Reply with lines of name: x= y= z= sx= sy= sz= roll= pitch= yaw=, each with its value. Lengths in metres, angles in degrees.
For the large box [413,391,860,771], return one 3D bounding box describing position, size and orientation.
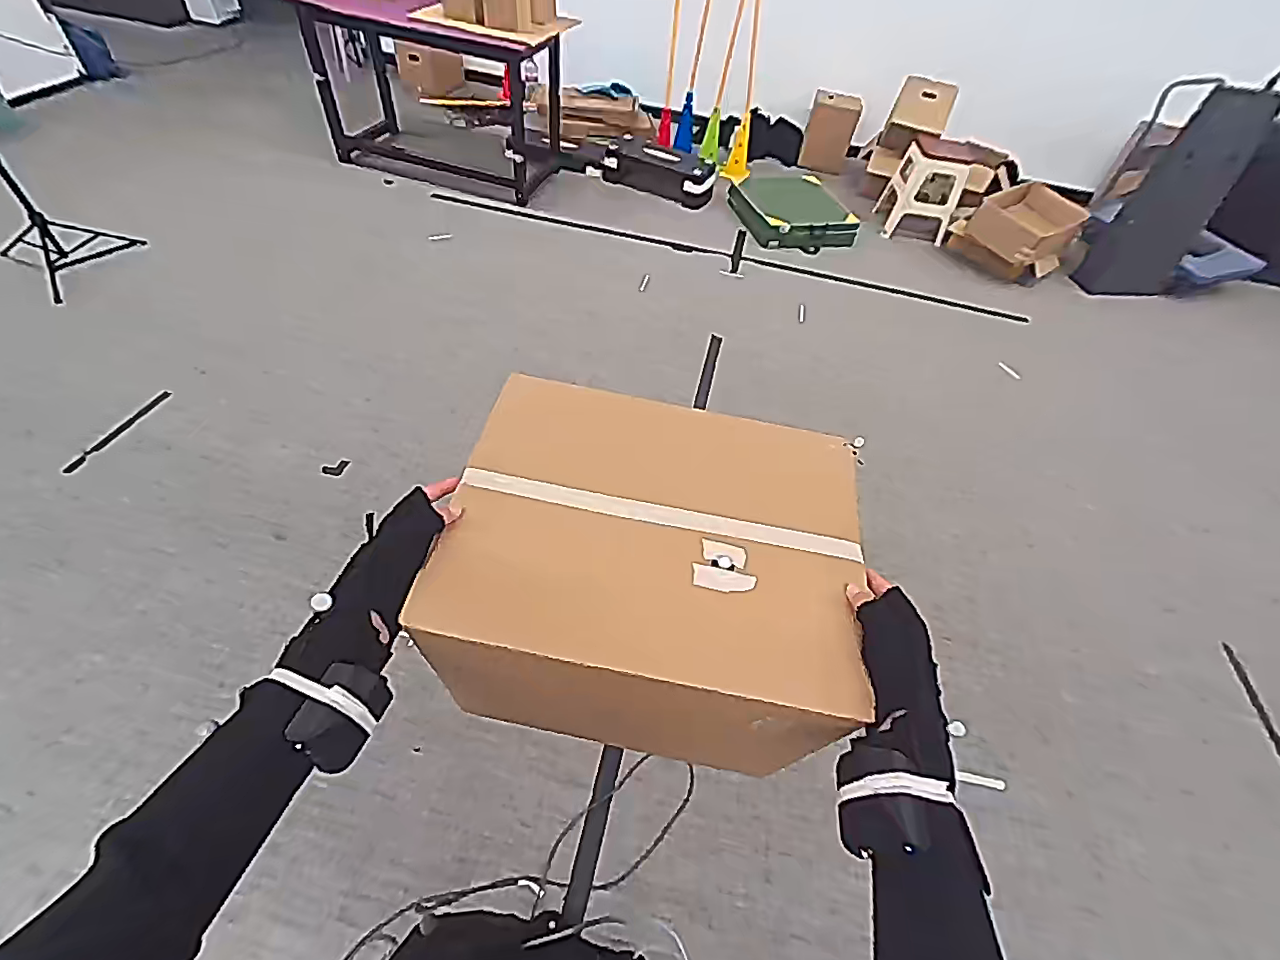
large box: x=0.001 y=0.135 z=0.672 sx=0.408 sy=0.320 sz=0.320 roll=12 pitch=54 yaw=1
